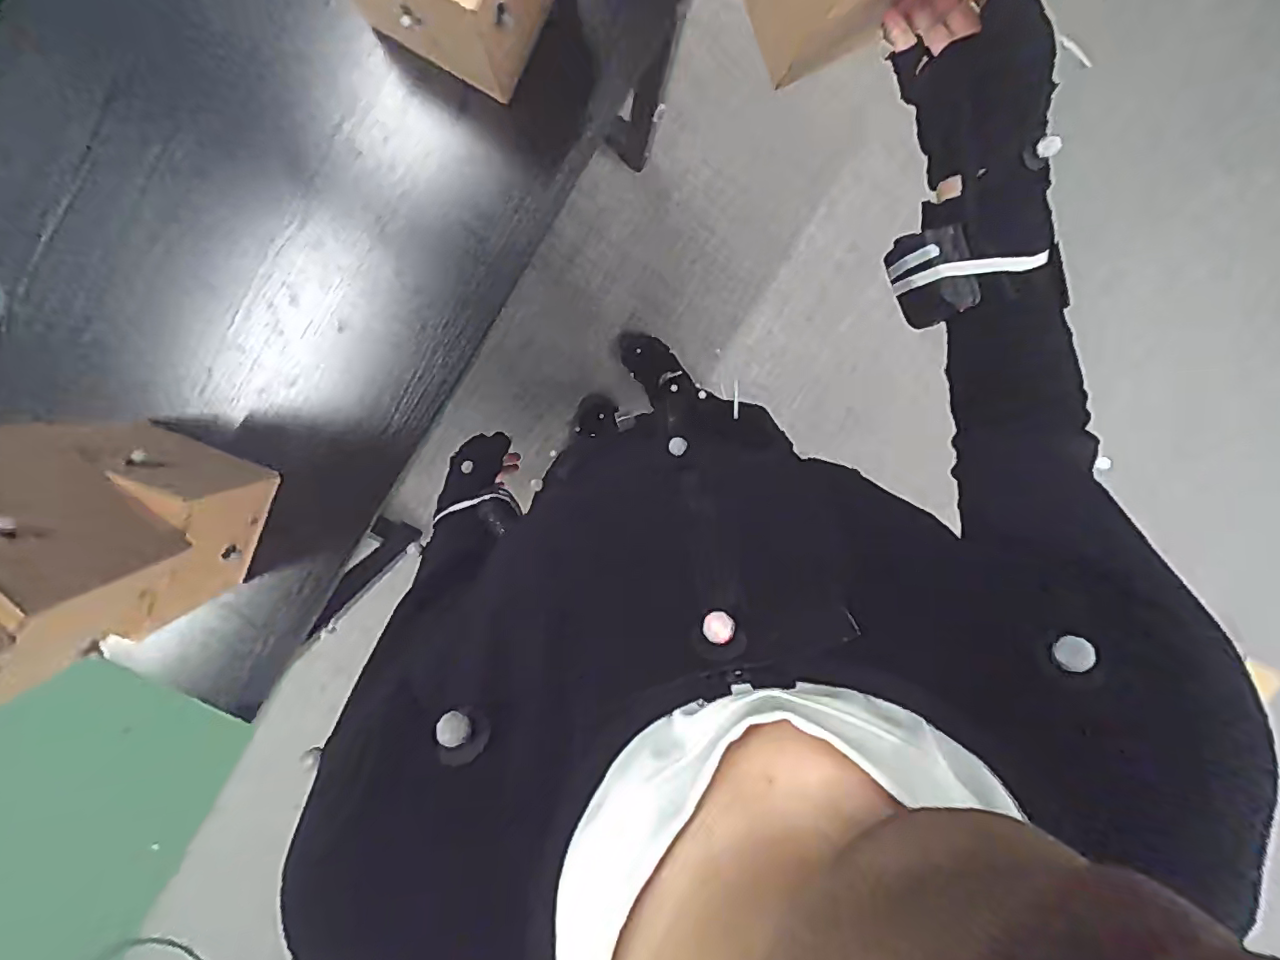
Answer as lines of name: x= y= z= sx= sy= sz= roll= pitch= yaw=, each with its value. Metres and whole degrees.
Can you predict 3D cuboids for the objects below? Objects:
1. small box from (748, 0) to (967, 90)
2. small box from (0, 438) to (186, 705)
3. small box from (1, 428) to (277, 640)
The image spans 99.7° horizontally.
small box: x=0.171 y=-0.433 z=0.385 sx=0.168 sy=0.176 sz=0.179 roll=-23 pitch=105 yaw=-1
small box: x=-0.555 y=0.081 z=0.455 sx=0.168 sy=0.176 sz=0.179 roll=-45 pitch=101 yaw=3
small box: x=-0.568 y=0.047 z=0.615 sx=0.179 sy=0.176 sz=0.168 roll=23 pitch=97 yaw=-10
